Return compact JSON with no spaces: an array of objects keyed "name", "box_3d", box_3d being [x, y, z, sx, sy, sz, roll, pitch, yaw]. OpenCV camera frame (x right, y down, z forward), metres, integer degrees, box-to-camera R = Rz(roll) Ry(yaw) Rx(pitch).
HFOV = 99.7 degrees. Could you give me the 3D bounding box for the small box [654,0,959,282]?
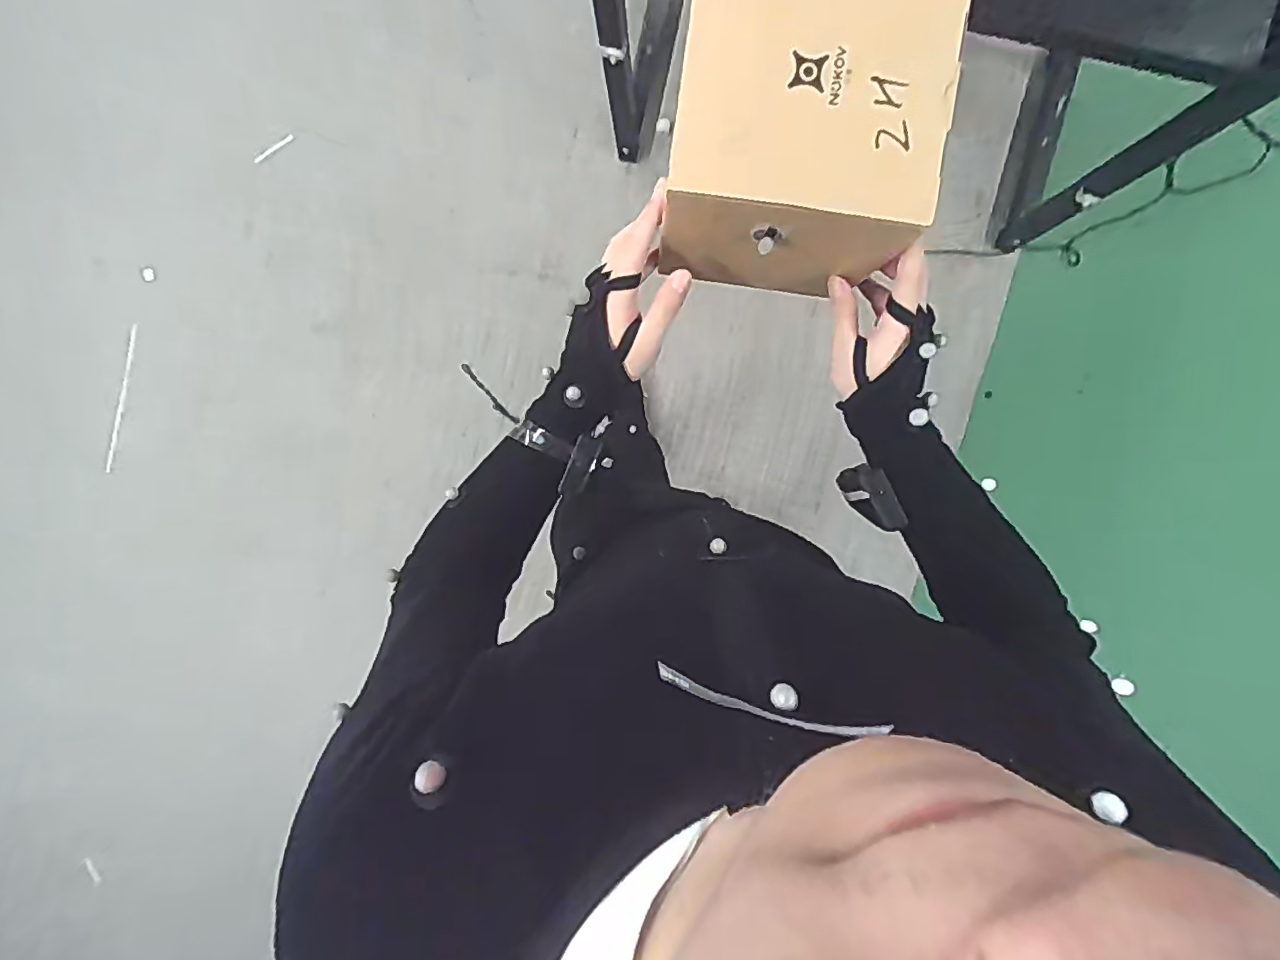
[{"name":"small box","box_3d":[0.108,-0.267,0.421,0.179,0.176,0.168,8,94,1]}]
